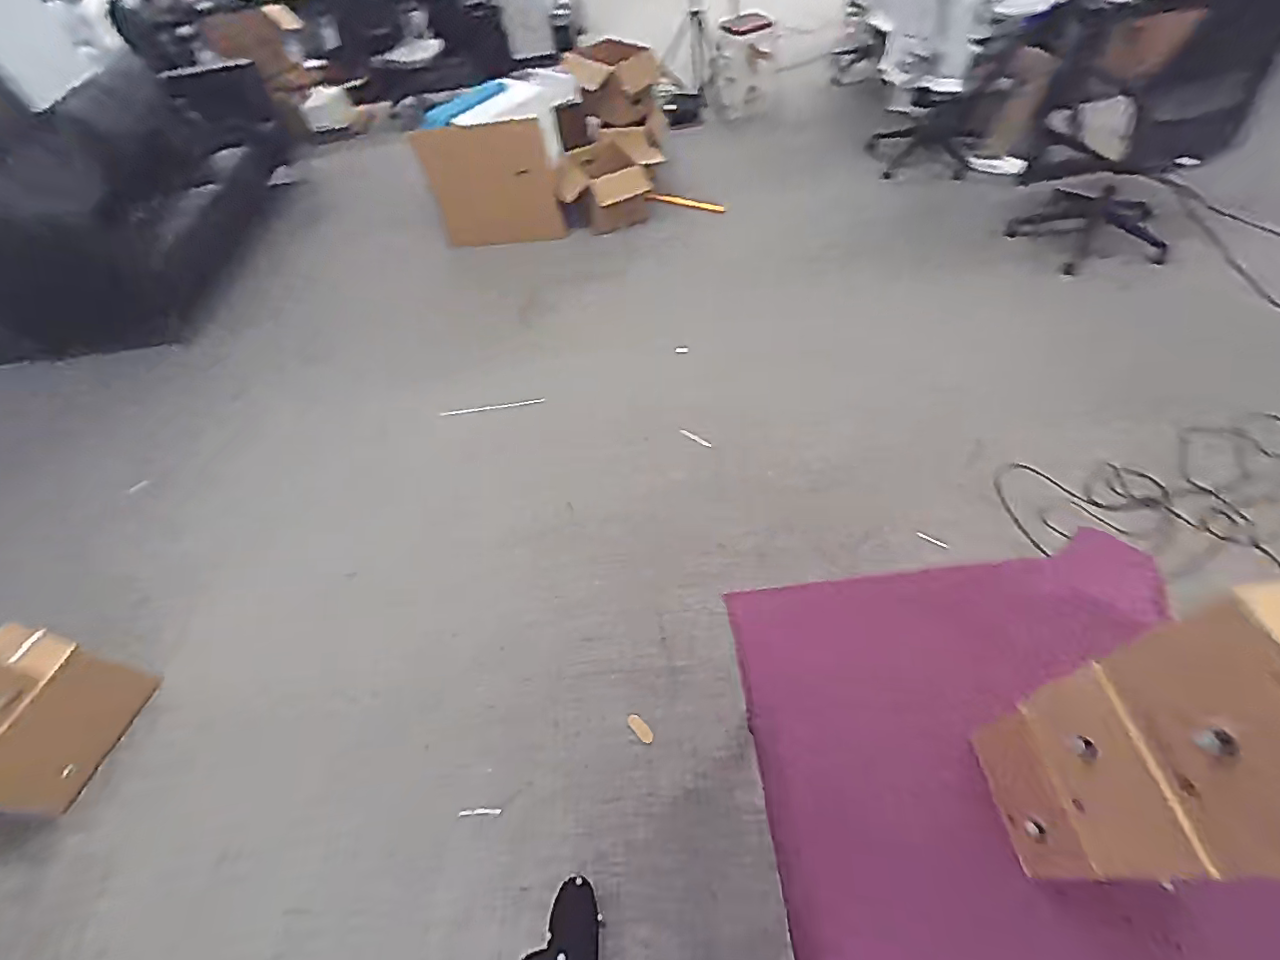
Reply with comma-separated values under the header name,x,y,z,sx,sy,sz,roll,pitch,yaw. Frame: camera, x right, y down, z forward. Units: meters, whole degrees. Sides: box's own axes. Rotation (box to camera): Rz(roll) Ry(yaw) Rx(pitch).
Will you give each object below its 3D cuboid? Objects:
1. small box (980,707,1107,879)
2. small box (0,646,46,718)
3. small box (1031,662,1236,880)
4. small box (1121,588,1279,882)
name,x,y,z,sx,sy,sz,roll,pitch,yaw
small box,0.542,0.372,0.645,0.179,0.176,0.168,-6,54,4
small box,-1.742,0.513,1.403,0.179,0.176,0.168,12,56,15
small box,0.519,0.277,0.517,0.179,0.176,0.168,-7,54,3
small box,0.504,0.180,0.385,0.179,0.176,0.168,-7,54,4
